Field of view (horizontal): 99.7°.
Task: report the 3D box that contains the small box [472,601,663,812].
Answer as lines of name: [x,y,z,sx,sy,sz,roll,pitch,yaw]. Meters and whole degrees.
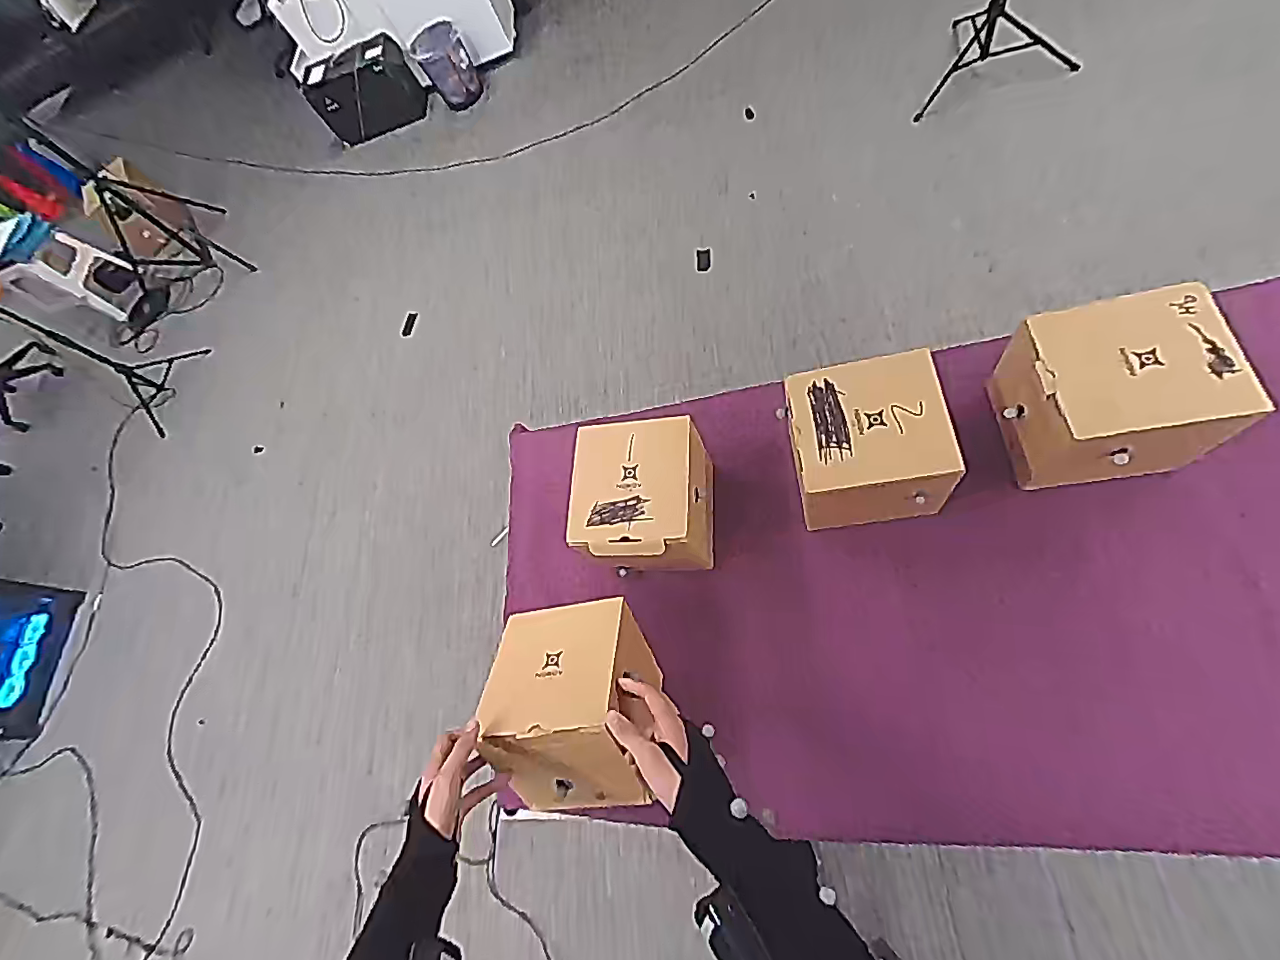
small box: [-0.074,0.281,0.674,0.168,0.176,0.179,-13,34,14]

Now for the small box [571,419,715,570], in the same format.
small box: [0.014,0.032,0.784,0.168,0.176,0.179,-4,67,17]
